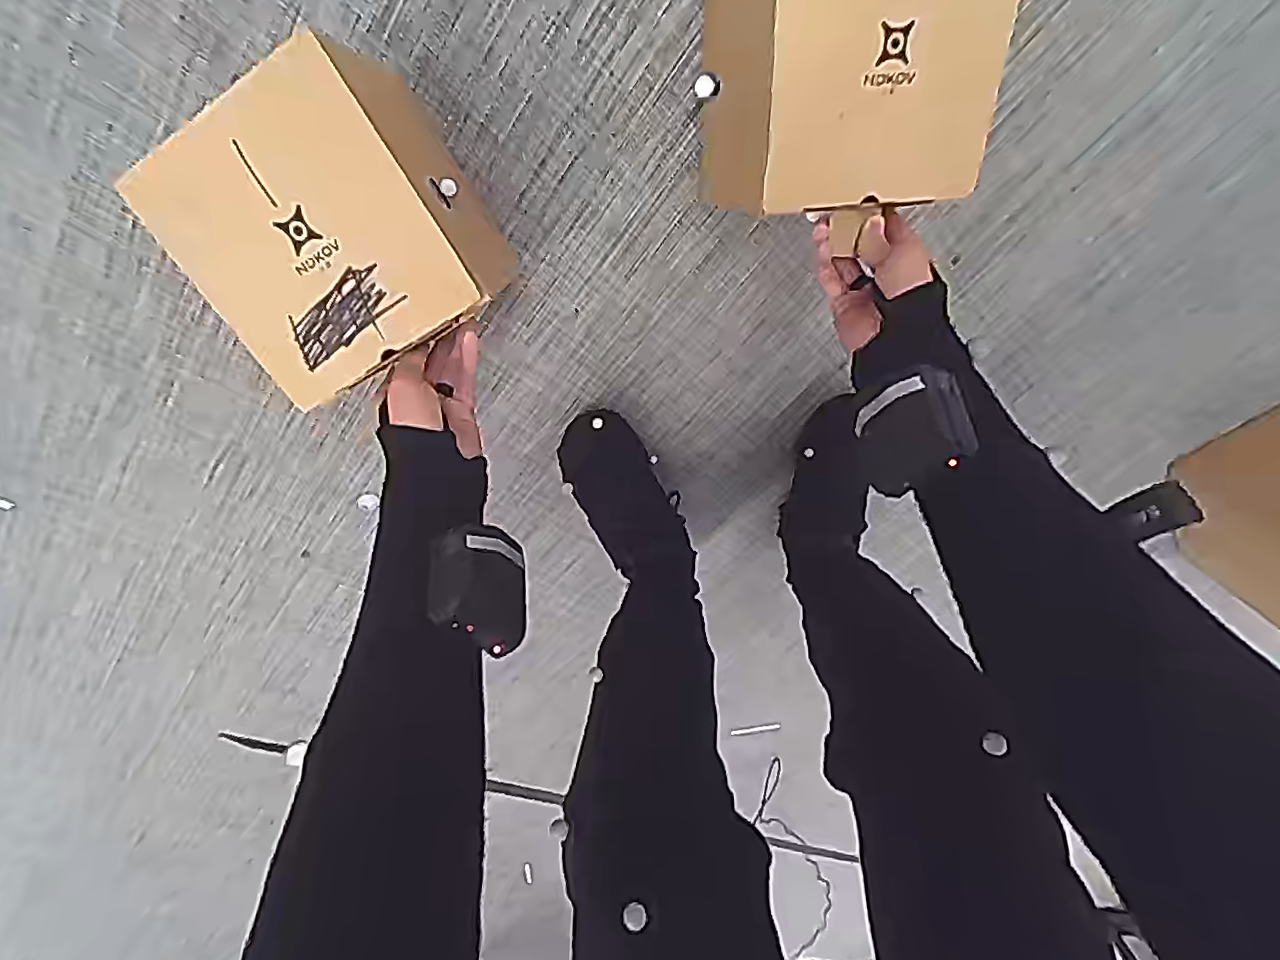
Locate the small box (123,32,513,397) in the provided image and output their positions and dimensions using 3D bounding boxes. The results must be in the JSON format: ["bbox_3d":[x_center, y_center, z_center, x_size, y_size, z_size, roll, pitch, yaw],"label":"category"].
[{"bbox_3d":[-0.225,-0.201,0.438,0.168,0.176,0.179,-28,115,10],"label":"small box"}]

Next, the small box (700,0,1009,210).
[{"bbox_3d":[0.148,-0.322,0.426,0.168,0.176,0.179,-7,121,-7],"label":"small box"}]
